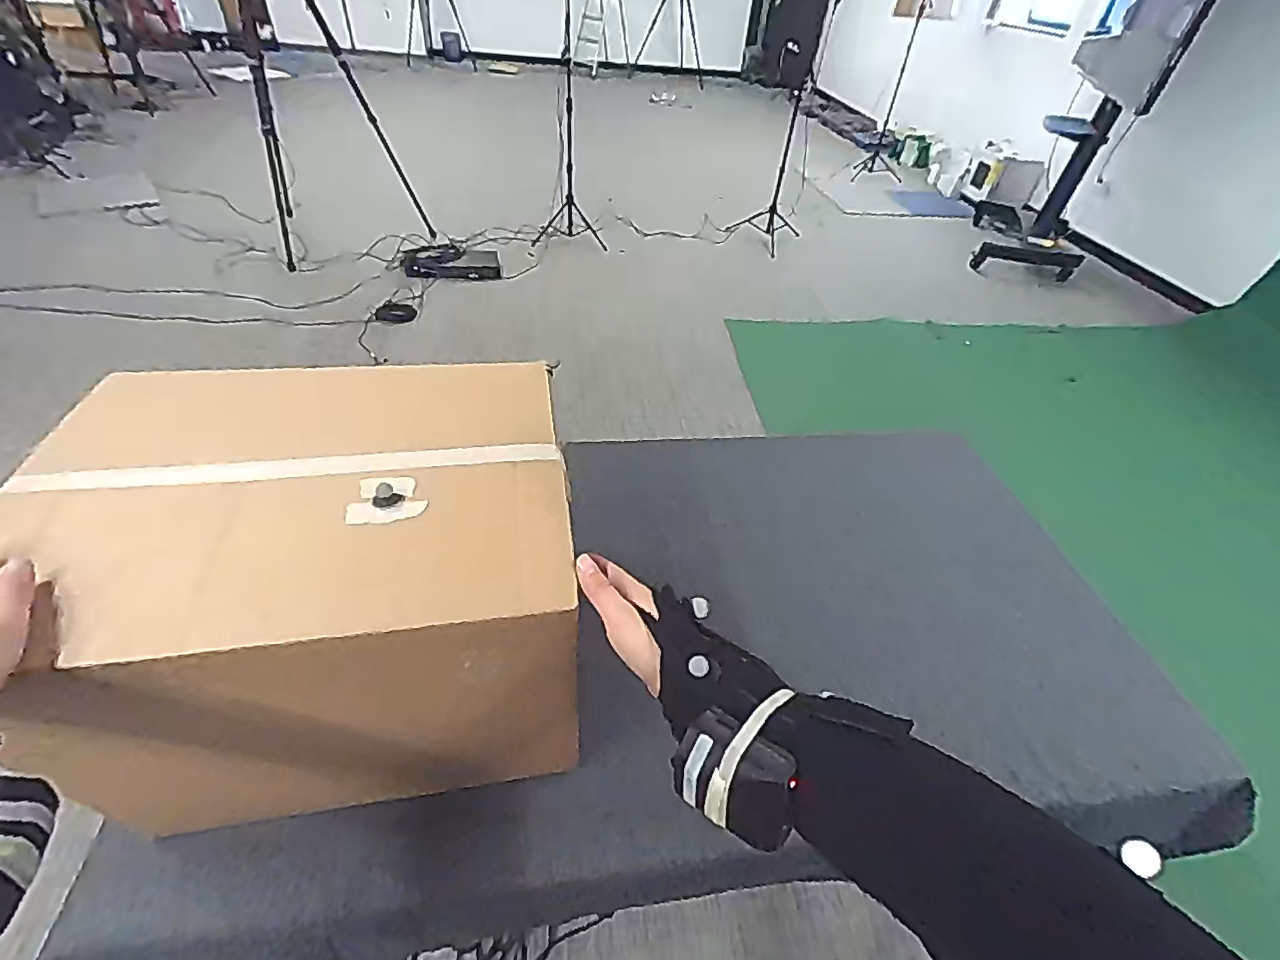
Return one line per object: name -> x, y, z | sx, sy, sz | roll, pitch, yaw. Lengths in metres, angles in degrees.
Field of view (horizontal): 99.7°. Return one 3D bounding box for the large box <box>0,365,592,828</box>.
large box -> -0.272, 0.099, 0.542 | 0.408, 0.320, 0.320 | -3, 45, -12
